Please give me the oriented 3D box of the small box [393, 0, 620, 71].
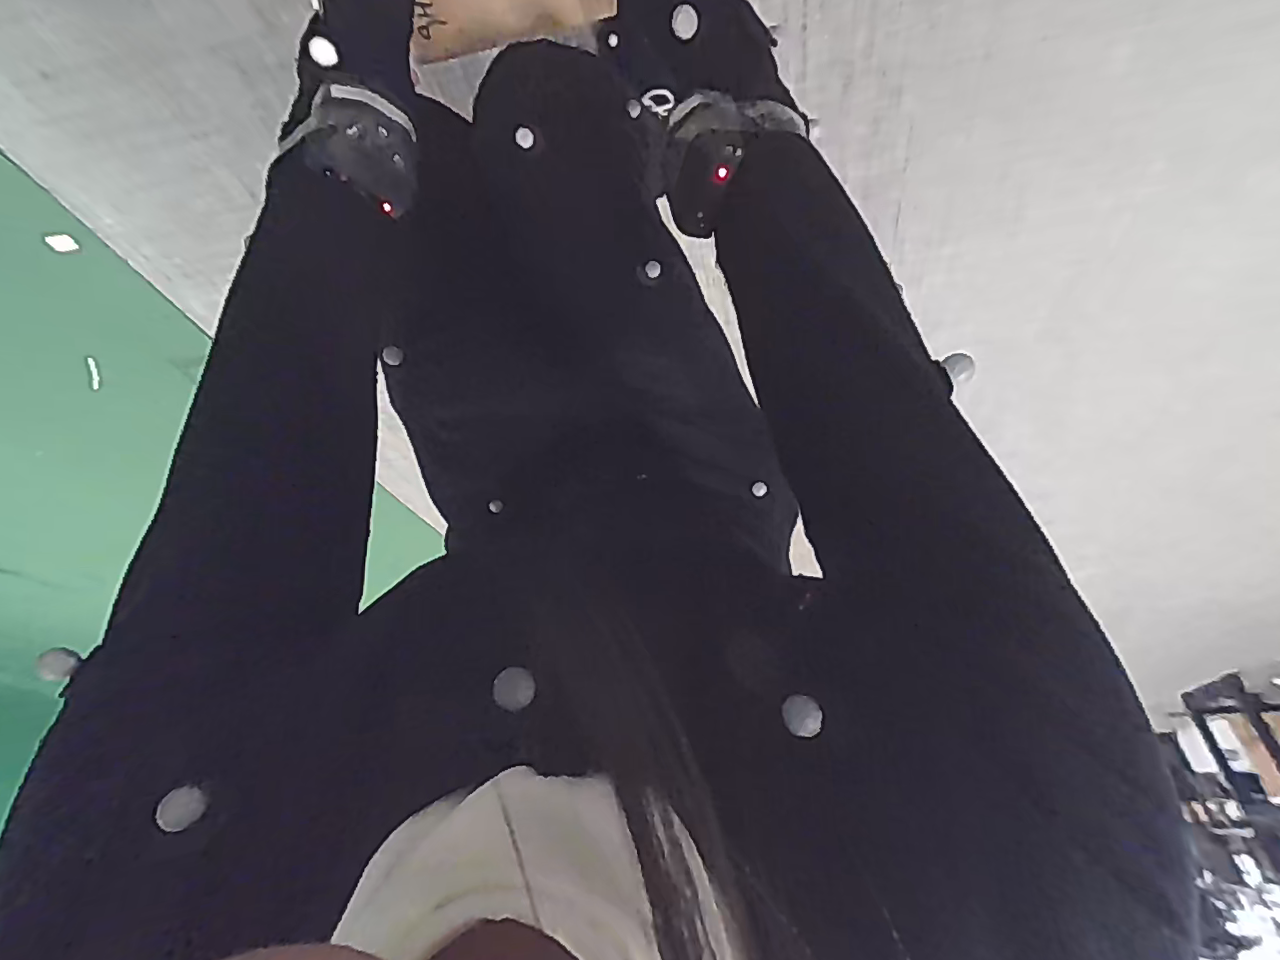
[{"bbox_3d":[-0.118,-0.472,0.432,0.179,0.176,0.168,-7,144,8],"label":"small box"}]
